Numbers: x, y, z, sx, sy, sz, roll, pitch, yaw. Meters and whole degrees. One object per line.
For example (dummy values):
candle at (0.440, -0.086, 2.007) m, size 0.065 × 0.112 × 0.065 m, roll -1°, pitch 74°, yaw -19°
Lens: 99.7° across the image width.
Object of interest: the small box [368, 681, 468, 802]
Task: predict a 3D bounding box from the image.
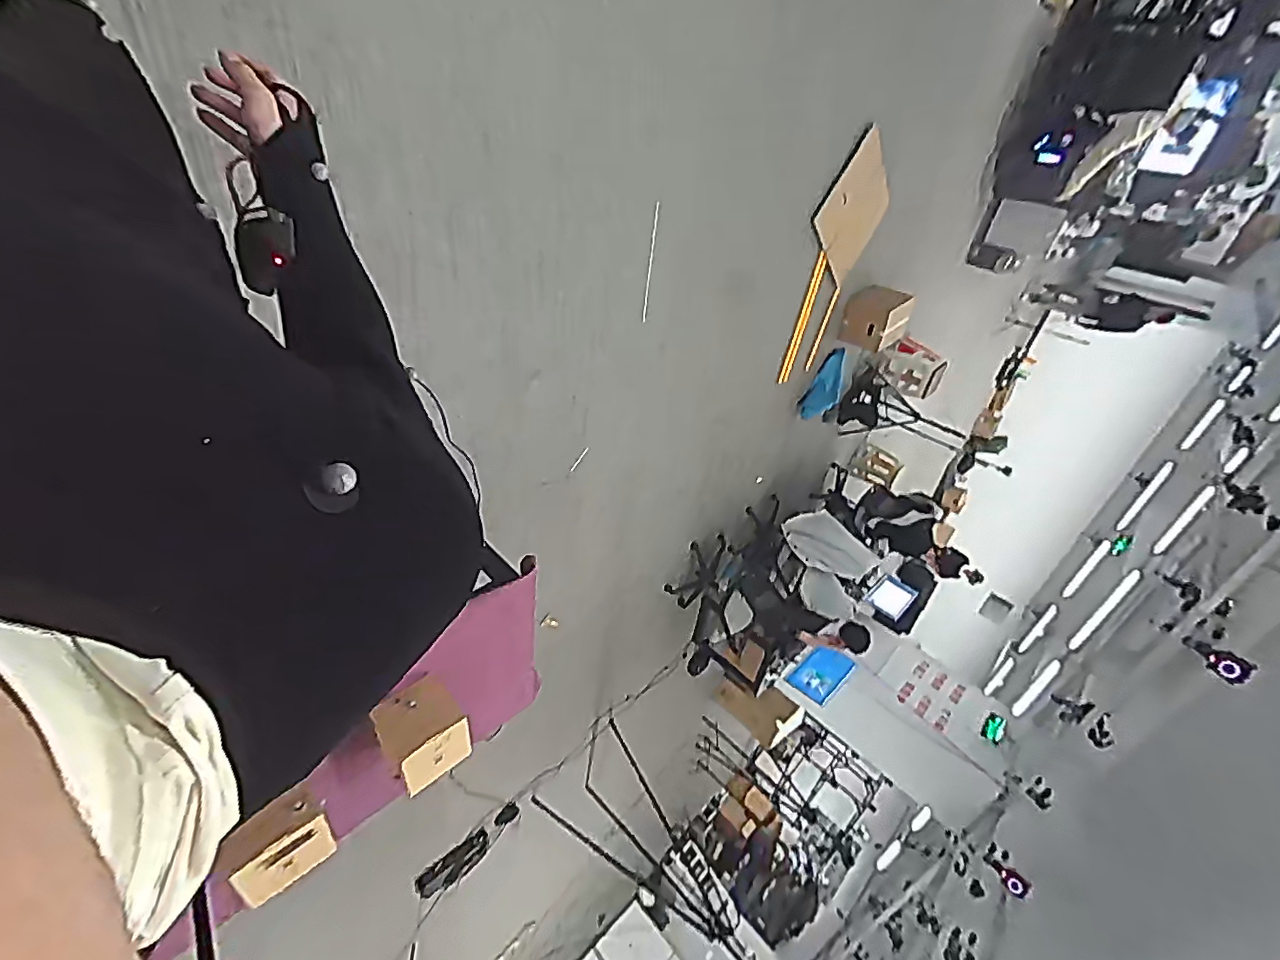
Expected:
small box at (-0.548, 0.640, 1.342) m, size 0.168 × 0.176 × 0.179 m, roll -27°, pitch 137°, yaw -39°
